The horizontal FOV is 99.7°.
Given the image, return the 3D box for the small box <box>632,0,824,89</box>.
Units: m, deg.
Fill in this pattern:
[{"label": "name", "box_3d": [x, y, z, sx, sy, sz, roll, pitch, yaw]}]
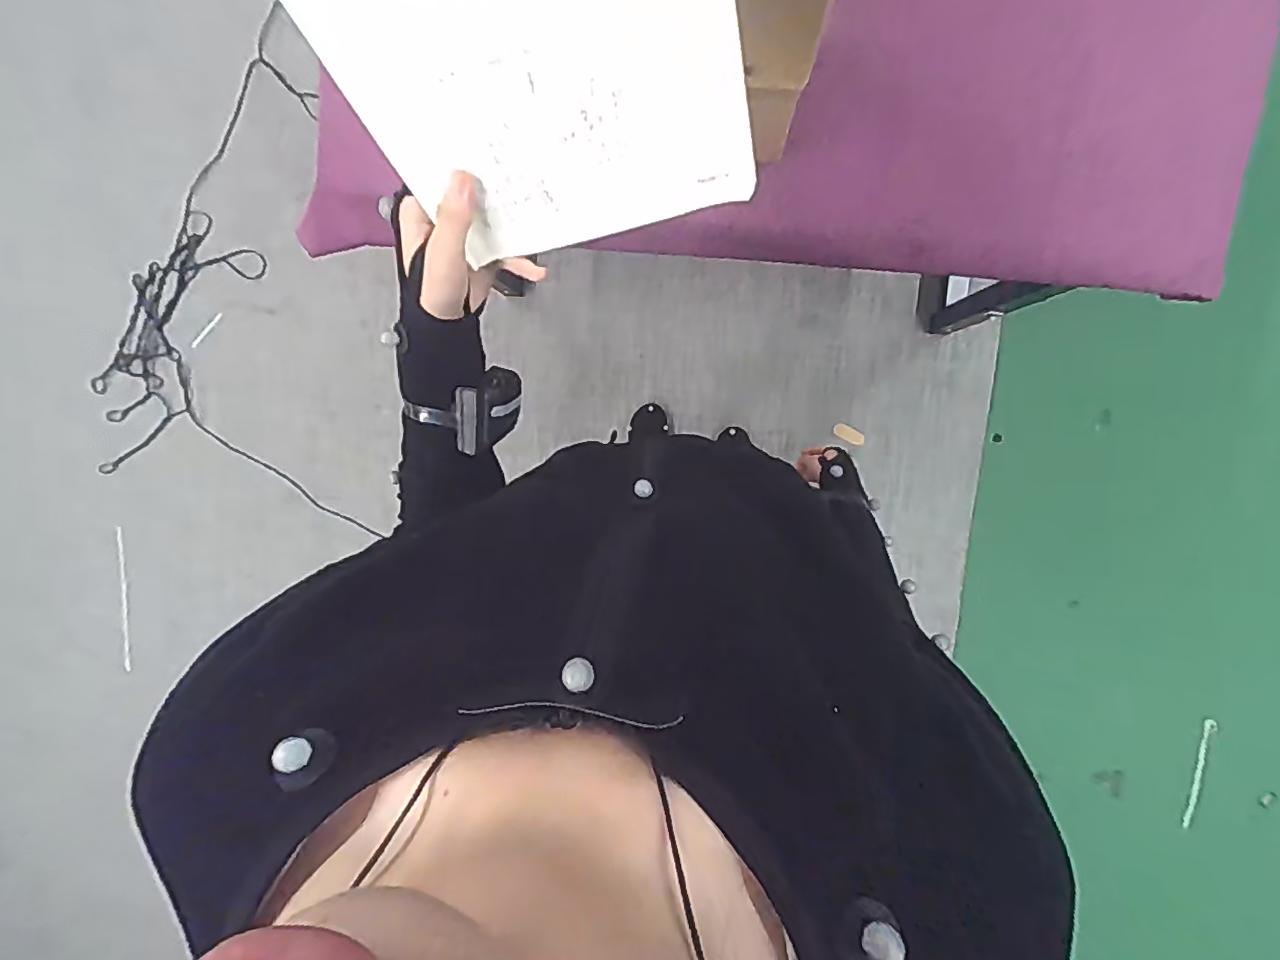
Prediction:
[{"label": "small box", "box_3d": [0.085, -0.485, 0.476, 0.168, 0.176, 0.179, 7, 95, 5]}]
